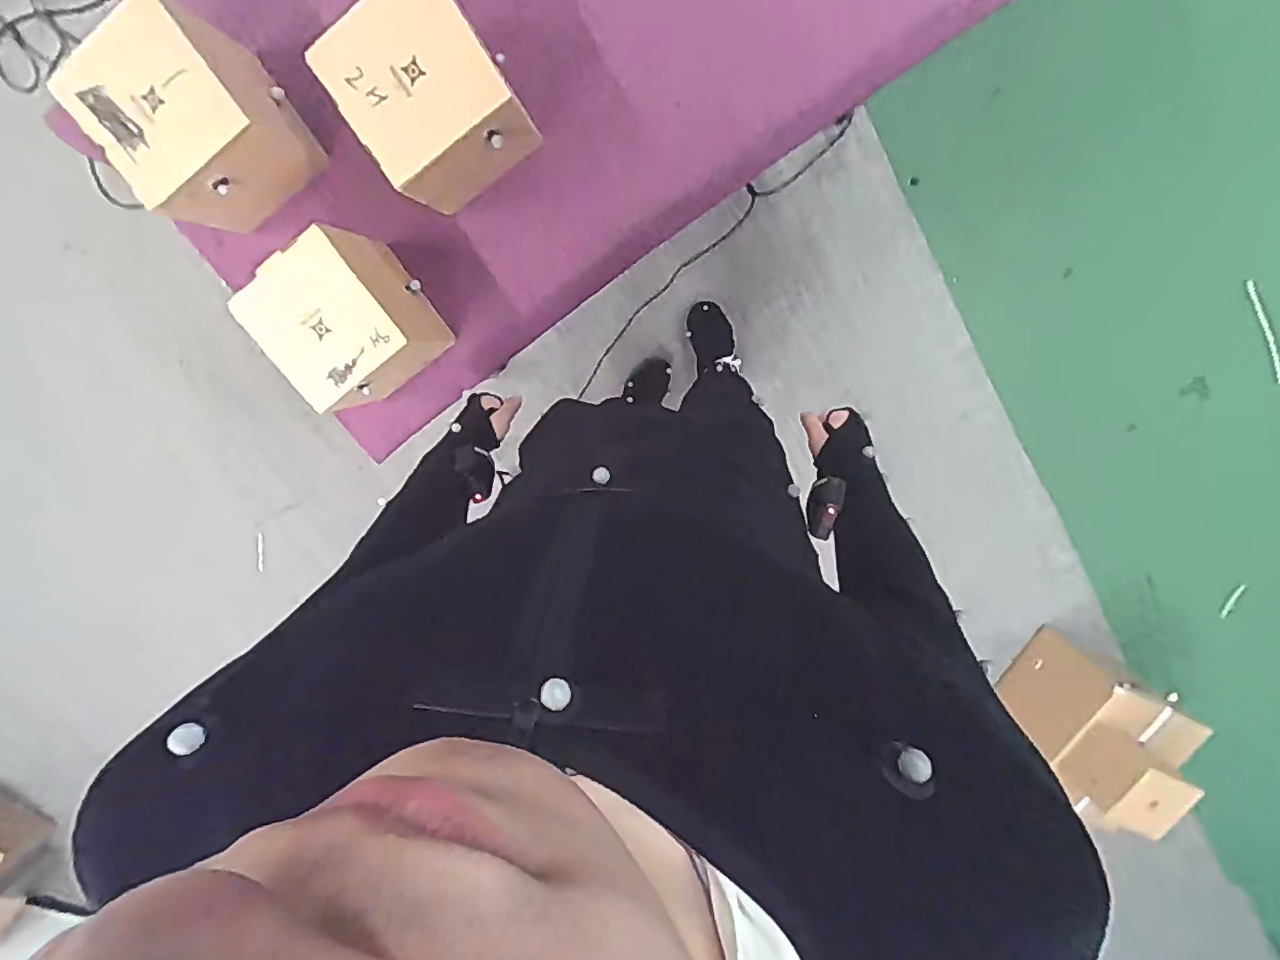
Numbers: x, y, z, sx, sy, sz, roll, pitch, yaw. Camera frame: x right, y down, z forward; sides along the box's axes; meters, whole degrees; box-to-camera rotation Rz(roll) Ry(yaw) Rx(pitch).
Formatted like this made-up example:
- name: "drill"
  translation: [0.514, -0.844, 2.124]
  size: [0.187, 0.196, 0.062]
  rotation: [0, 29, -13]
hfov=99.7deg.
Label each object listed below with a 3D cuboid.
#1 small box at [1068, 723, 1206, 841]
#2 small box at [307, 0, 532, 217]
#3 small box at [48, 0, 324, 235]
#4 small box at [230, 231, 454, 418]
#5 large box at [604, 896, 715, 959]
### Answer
- name: "small box"
  translation: [1.280, 0.783, 1.415]
  size: [0.168, 0.176, 0.179]
  rotation: [25, 106, -5]
- name: "small box"
  translation: [-0.253, -0.464, 0.677]
  size: [0.179, 0.176, 0.168]
  rotation: [-31, 102, 11]
- name: "small box"
  translation: [-0.562, -0.445, 0.697]
  size: [0.179, 0.176, 0.168]
  rotation: [-32, 103, 10]
- name: "small box"
  translation: [-0.400, -0.211, 0.759]
  size: [0.168, 0.176, 0.179]
  rotation: [-34, 101, 12]
- name: "large box"
  translation: [0.078, 1.851, 2.055]
  size: [0.408, 0.320, 0.320]
  rotation: [-1, 108, 2]
